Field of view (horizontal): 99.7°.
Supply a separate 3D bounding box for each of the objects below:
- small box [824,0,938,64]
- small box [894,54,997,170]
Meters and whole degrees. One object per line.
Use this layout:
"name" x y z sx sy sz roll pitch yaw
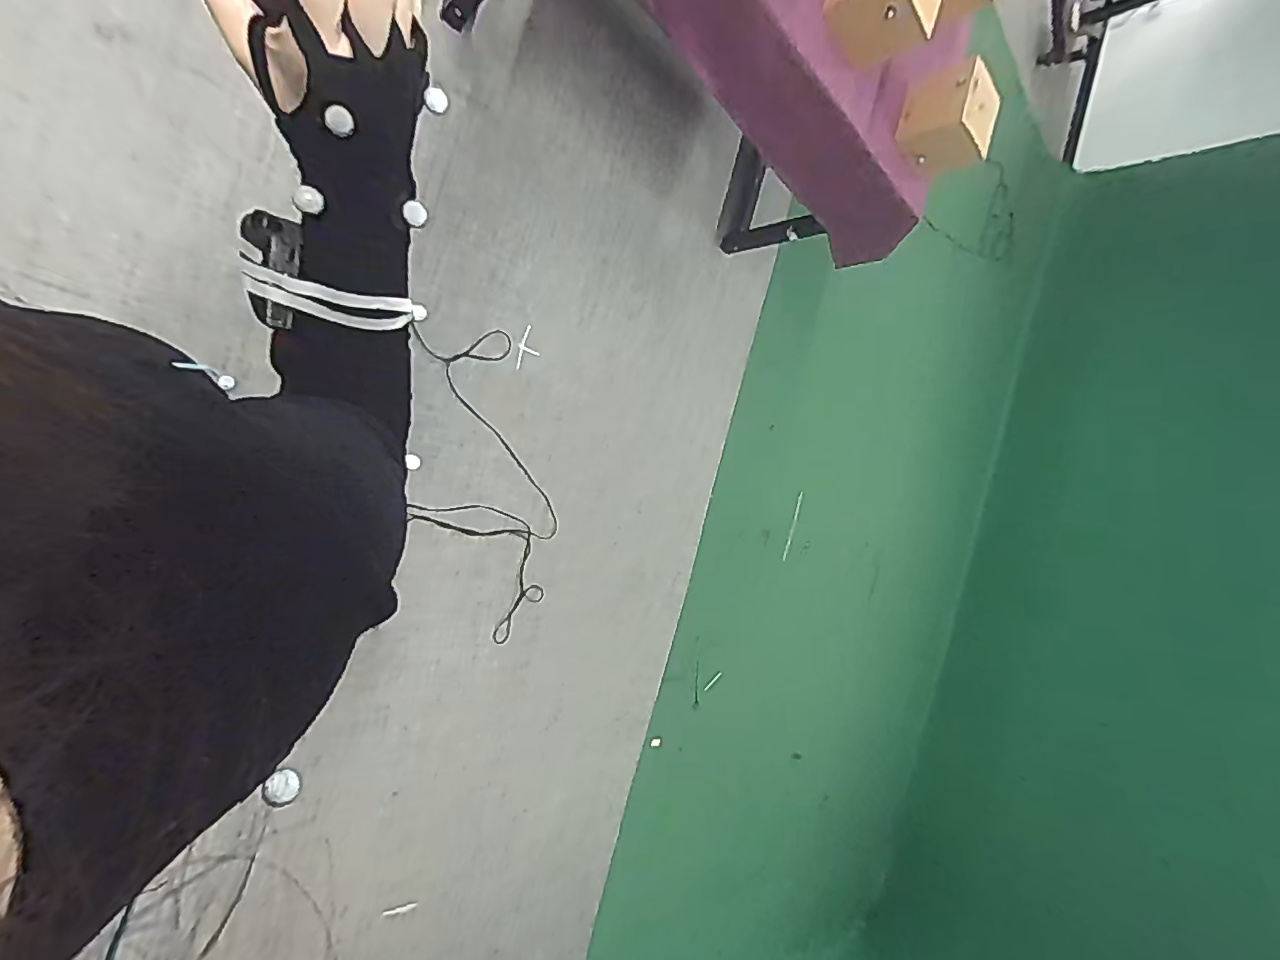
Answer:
"small box" 0.521 -1.052 1.158 0.179 0.176 0.168 22 85 -42
"small box" 0.796 -0.944 1.413 0.179 0.176 0.168 16 88 -41
